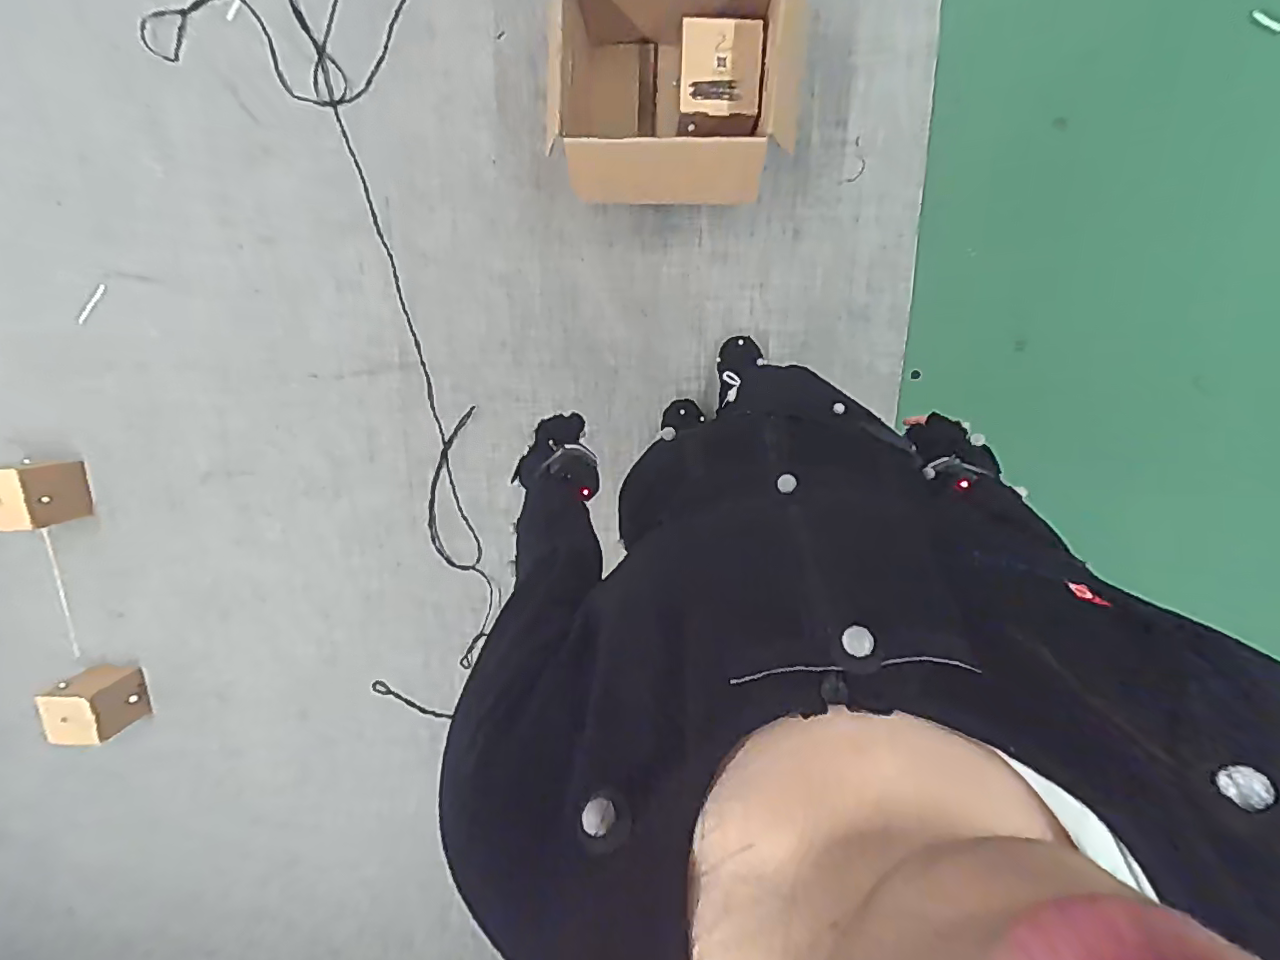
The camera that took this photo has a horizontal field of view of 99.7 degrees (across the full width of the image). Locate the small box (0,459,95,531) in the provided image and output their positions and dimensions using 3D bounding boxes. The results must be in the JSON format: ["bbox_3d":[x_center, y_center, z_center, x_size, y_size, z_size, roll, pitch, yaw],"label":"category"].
[{"bbox_3d":[-1.735,0.036,1.548,0.168,0.176,0.179,0,104,4],"label":"small box"}]

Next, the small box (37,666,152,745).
[{"bbox_3d":[-1.709,0.703,1.703,0.179,0.176,0.168,0,104,4],"label":"small box"}]

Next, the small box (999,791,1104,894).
[{"bbox_3d":[1.177,1.042,1.562,0.168,0.176,0.179,3,103,3],"label":"small box"}]
